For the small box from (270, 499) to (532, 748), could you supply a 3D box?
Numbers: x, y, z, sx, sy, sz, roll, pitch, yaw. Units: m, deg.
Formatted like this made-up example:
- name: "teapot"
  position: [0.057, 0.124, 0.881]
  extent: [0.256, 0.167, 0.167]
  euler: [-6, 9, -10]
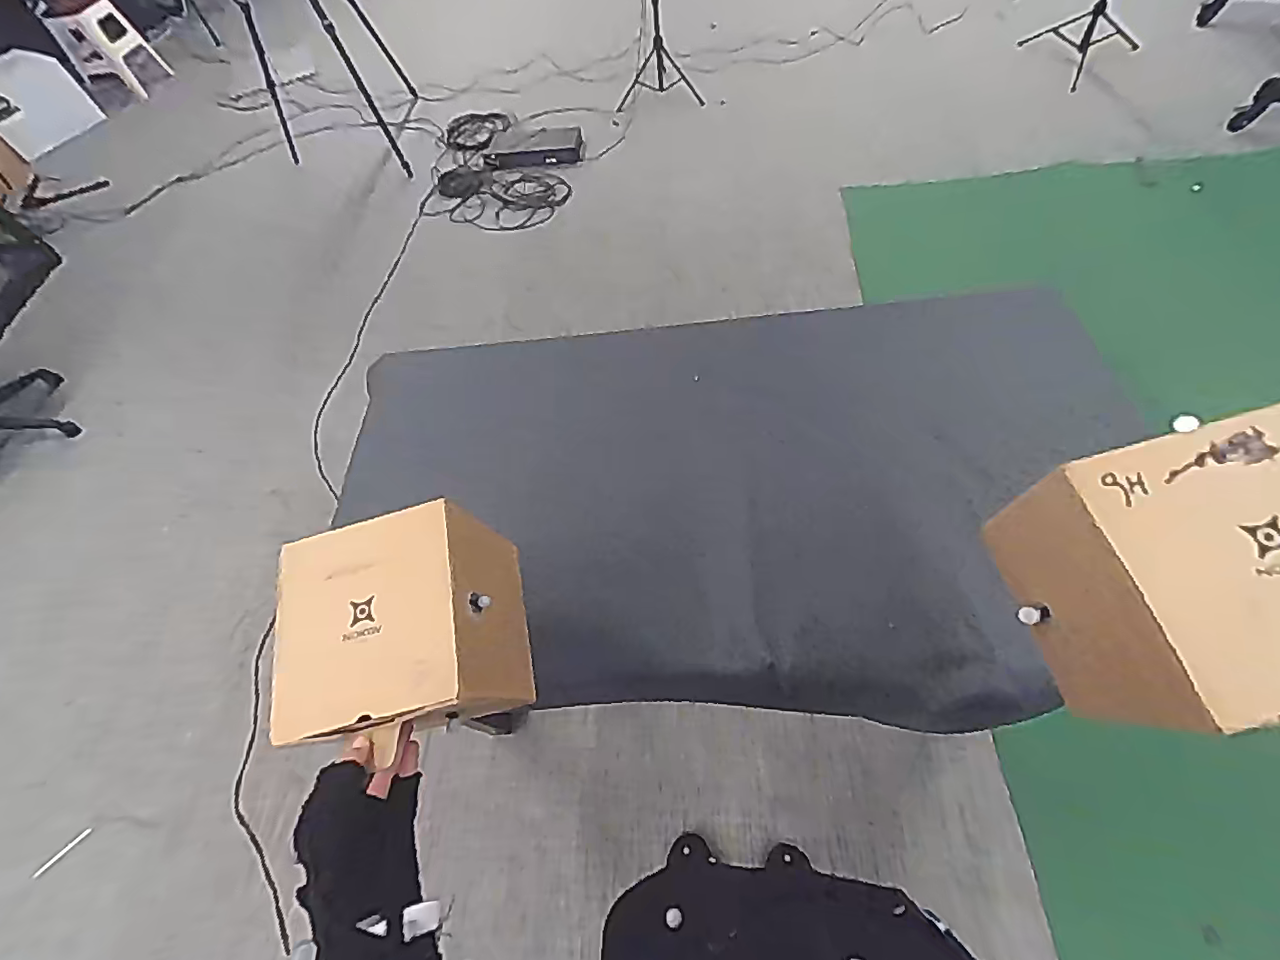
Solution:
- name: "small box"
  position: [-0.217, 0.144, 0.527]
  extent: [0.168, 0.176, 0.179]
  euler: [-16, 65, 4]

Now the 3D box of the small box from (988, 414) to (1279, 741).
- name: "small box"
  position: [0.404, 0.076, 0.402]
  extent: [0.168, 0.176, 0.179]
  euler: [-16, 67, 7]
